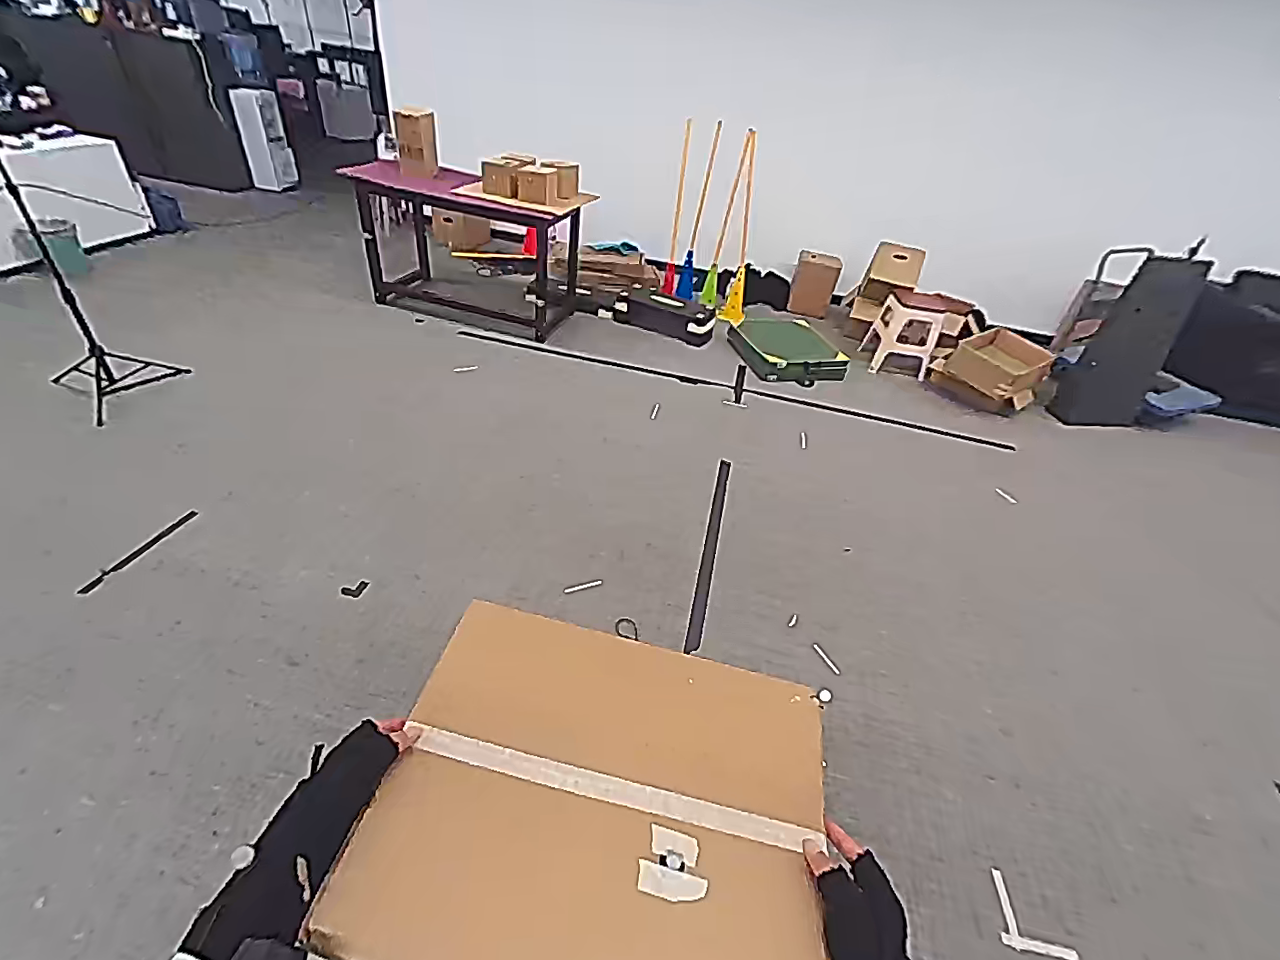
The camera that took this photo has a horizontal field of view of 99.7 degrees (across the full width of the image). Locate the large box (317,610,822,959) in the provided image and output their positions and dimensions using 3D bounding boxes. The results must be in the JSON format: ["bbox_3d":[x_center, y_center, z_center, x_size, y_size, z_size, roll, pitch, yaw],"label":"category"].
[{"bbox_3d":[-0.052,0.401,0.610,0.408,0.320,0.320,14,43,2],"label":"large box"}]
